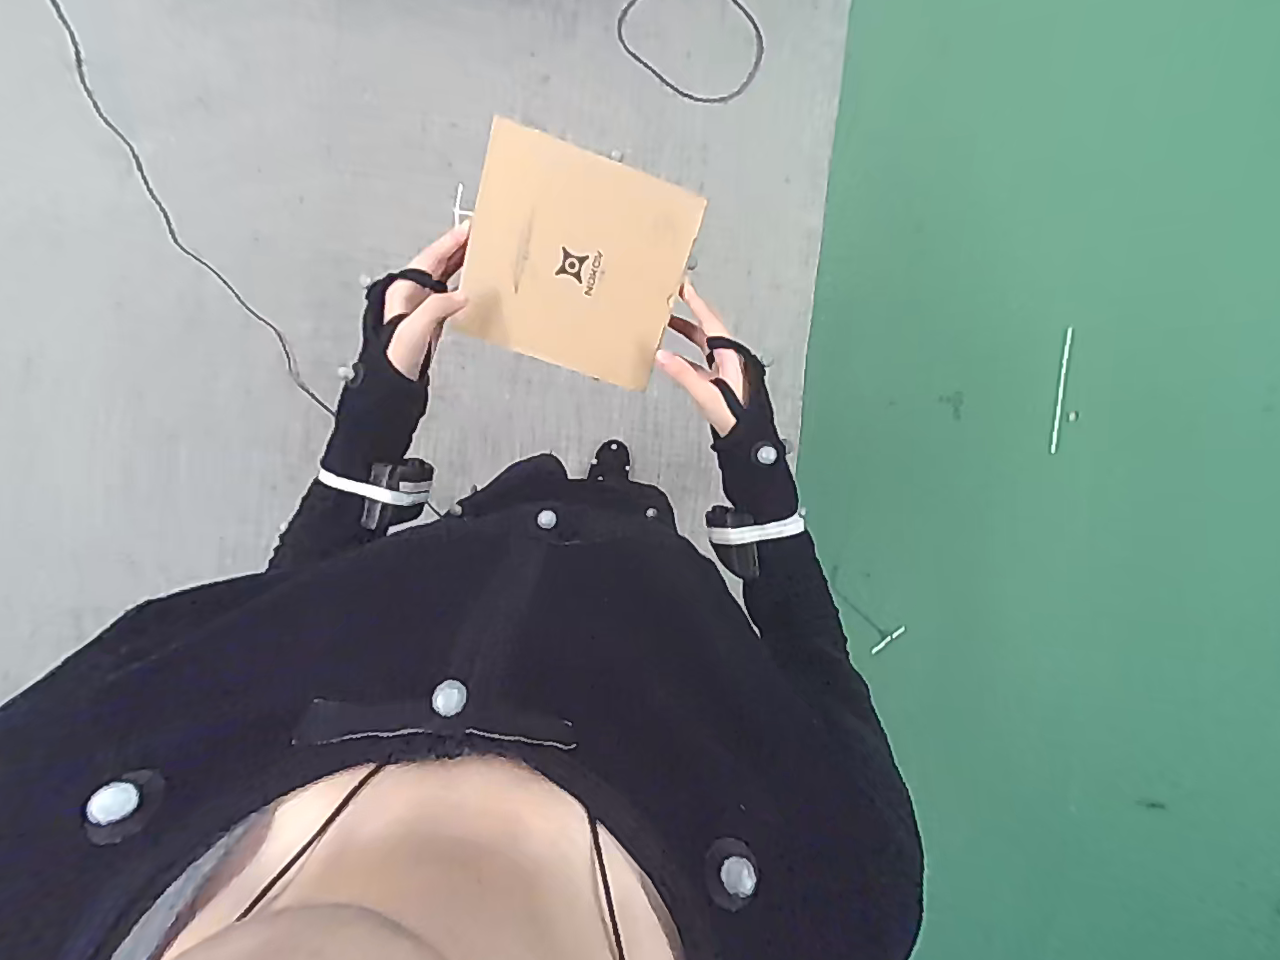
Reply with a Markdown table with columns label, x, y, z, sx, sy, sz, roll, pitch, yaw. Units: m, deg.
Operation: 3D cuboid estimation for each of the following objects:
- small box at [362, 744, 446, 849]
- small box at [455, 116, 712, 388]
| label | x | y | z | sx | sy | sz | roll | pitch | yaw |
| --- | --- | --- | --- | --- | --- | --- | --- | --- | --- |
| small box | -0.626 | 0.836 | 1.436 | 0.168 | 0.176 | 0.179 | 7 | 92 | -4 |
| small box | -0.053 | -0.206 | 0.515 | 0.179 | 0.176 | 0.168 | 17 | 110 | -9 |
